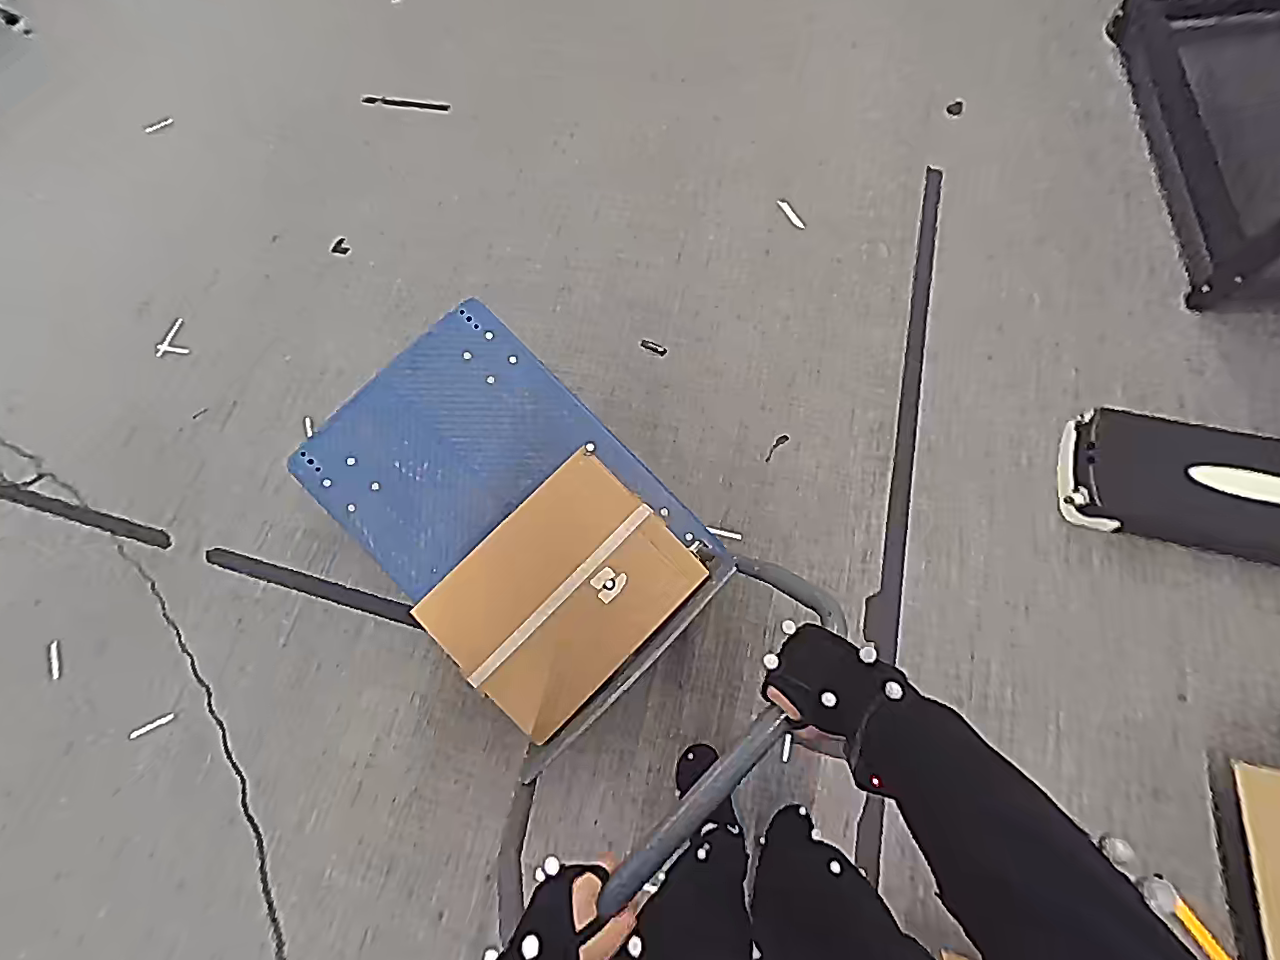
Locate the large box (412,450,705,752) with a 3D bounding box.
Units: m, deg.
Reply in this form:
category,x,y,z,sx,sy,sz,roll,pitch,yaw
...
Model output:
category,x,y,z,sx,sy,sz,roll,pitch,yaw
large box,-0.139,0.213,1.041,0.320,0.320,0.408,45,82,2
